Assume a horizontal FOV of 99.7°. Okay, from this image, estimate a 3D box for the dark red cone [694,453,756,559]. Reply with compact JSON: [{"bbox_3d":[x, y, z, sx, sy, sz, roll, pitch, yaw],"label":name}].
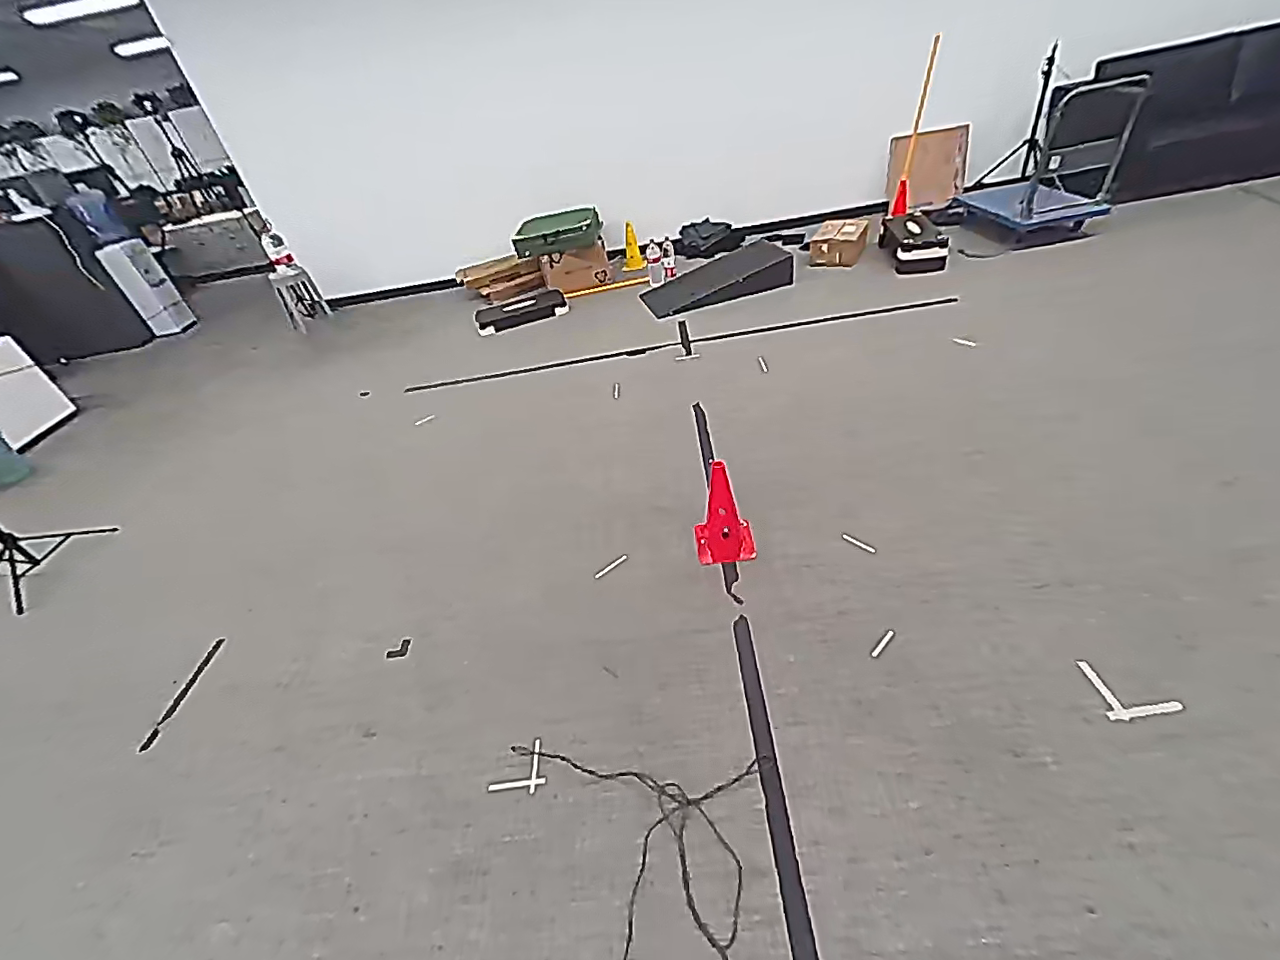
[{"bbox_3d":[0.270,0.073,1.820,0.201,0.394,0.202,-9,38,5],"label":"dark red cone"}]
